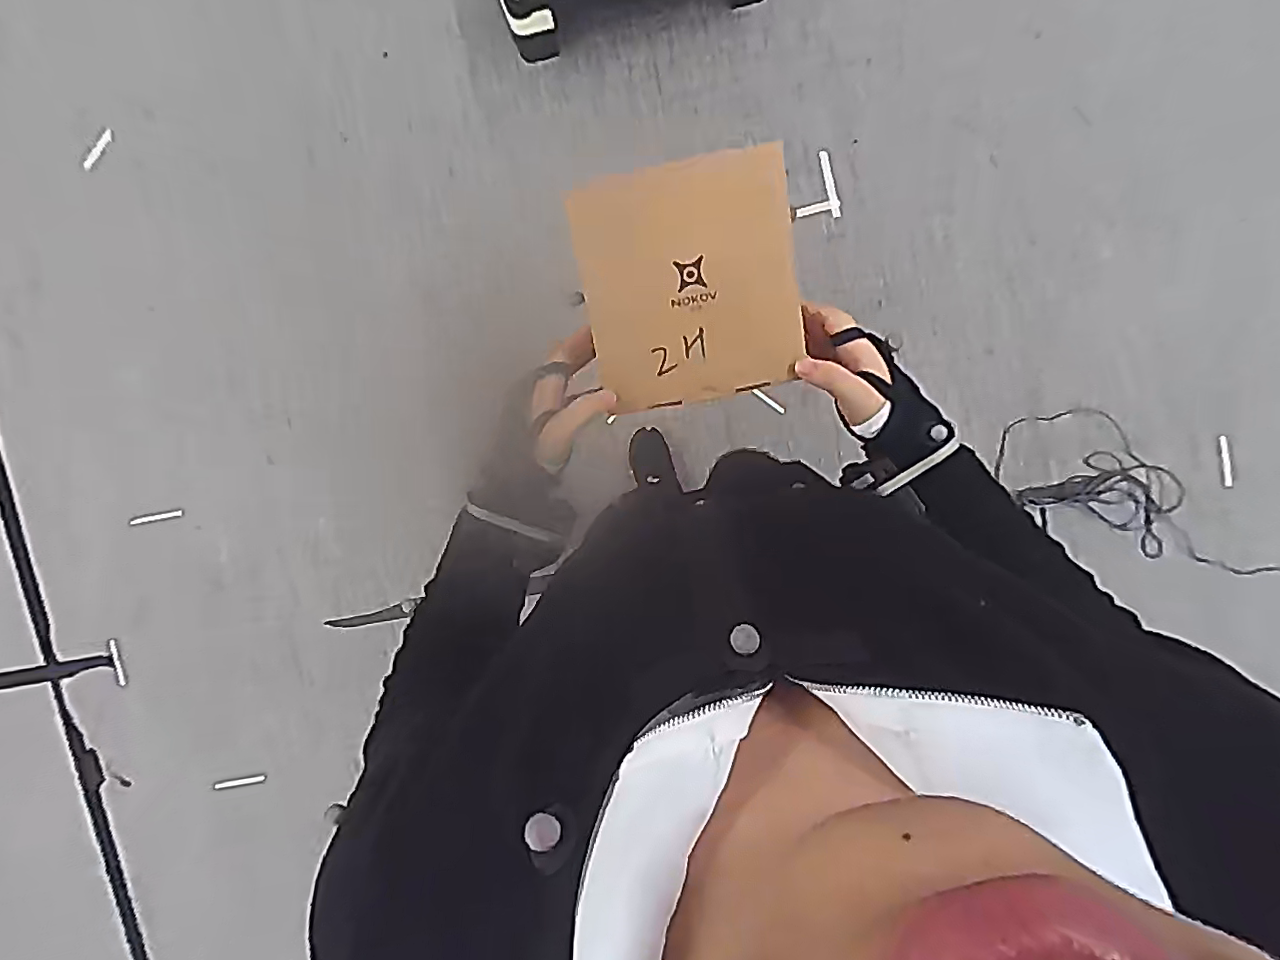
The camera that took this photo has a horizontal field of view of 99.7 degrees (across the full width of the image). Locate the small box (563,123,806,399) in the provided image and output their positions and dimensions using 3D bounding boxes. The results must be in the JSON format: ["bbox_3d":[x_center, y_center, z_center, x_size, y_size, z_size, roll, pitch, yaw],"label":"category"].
[{"bbox_3d":[0.033,-0.180,0.486,0.168,0.176,0.179,-11,105,1],"label":"small box"}]
